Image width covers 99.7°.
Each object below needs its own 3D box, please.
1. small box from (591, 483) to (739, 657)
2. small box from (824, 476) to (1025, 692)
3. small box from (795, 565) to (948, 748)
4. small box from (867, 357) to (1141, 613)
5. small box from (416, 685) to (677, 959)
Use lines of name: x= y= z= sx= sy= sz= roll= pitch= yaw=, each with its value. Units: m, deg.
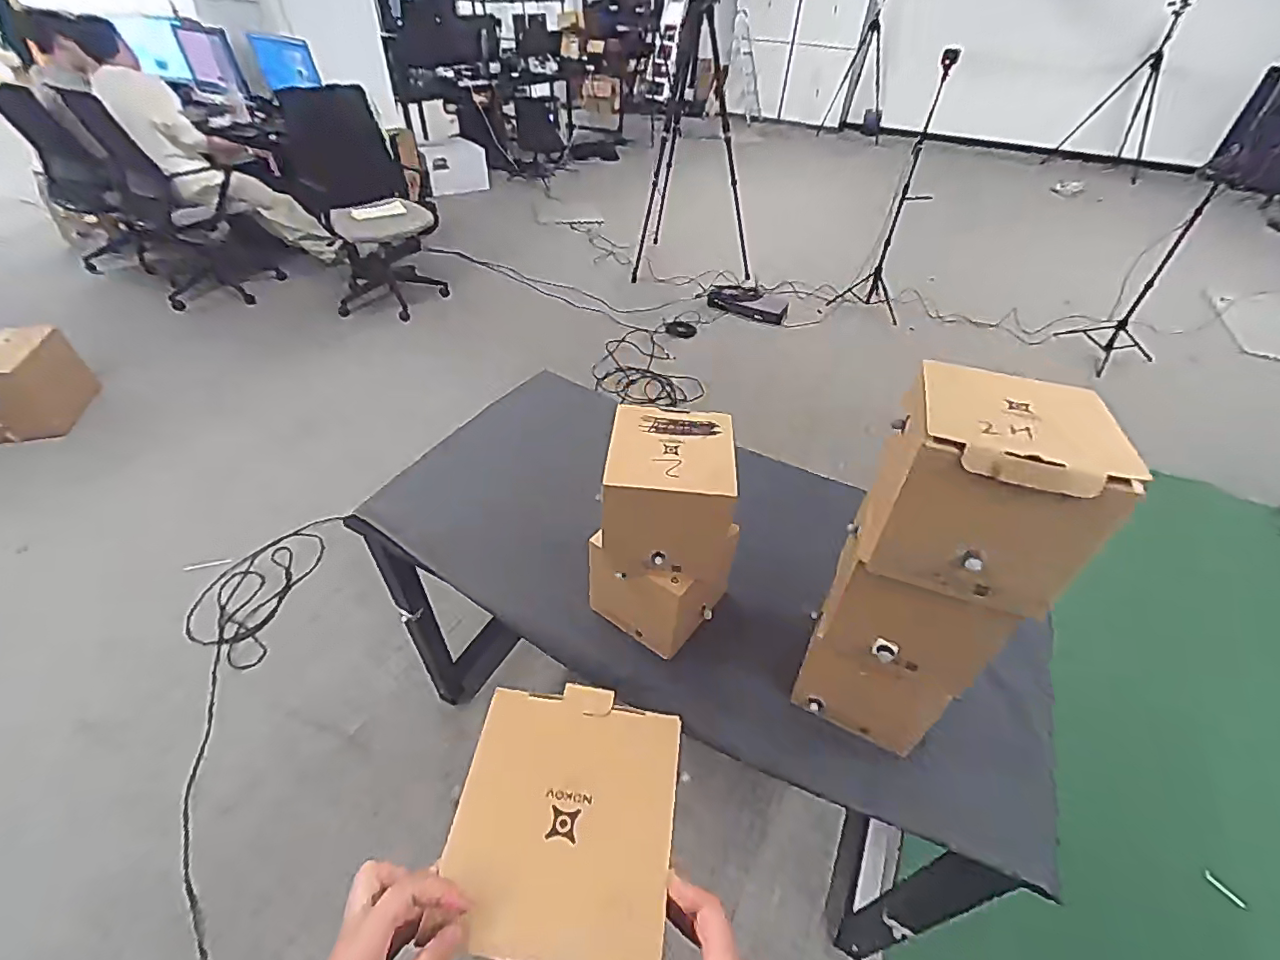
small box: x=0.035 y=0.141 z=0.869 sx=0.168 sy=0.176 sz=0.179 roll=27 pitch=45 yaw=26
small box: x=0.338 y=0.120 z=0.665 sx=0.168 sy=0.176 sz=0.179 roll=17 pitch=43 yaw=18
small box: x=0.333 y=0.241 z=0.773 sx=0.168 sy=0.176 sz=0.179 roll=21 pitch=42 yaw=20
small box: x=0.343 y=0.000 z=0.552 sx=0.168 sy=0.176 sz=0.179 roll=15 pitch=41 yaw=16
small box: x=-0.063 y=0.307 z=0.470 sx=0.168 sy=0.176 sz=0.179 roll=8 pitch=46 yaw=2
